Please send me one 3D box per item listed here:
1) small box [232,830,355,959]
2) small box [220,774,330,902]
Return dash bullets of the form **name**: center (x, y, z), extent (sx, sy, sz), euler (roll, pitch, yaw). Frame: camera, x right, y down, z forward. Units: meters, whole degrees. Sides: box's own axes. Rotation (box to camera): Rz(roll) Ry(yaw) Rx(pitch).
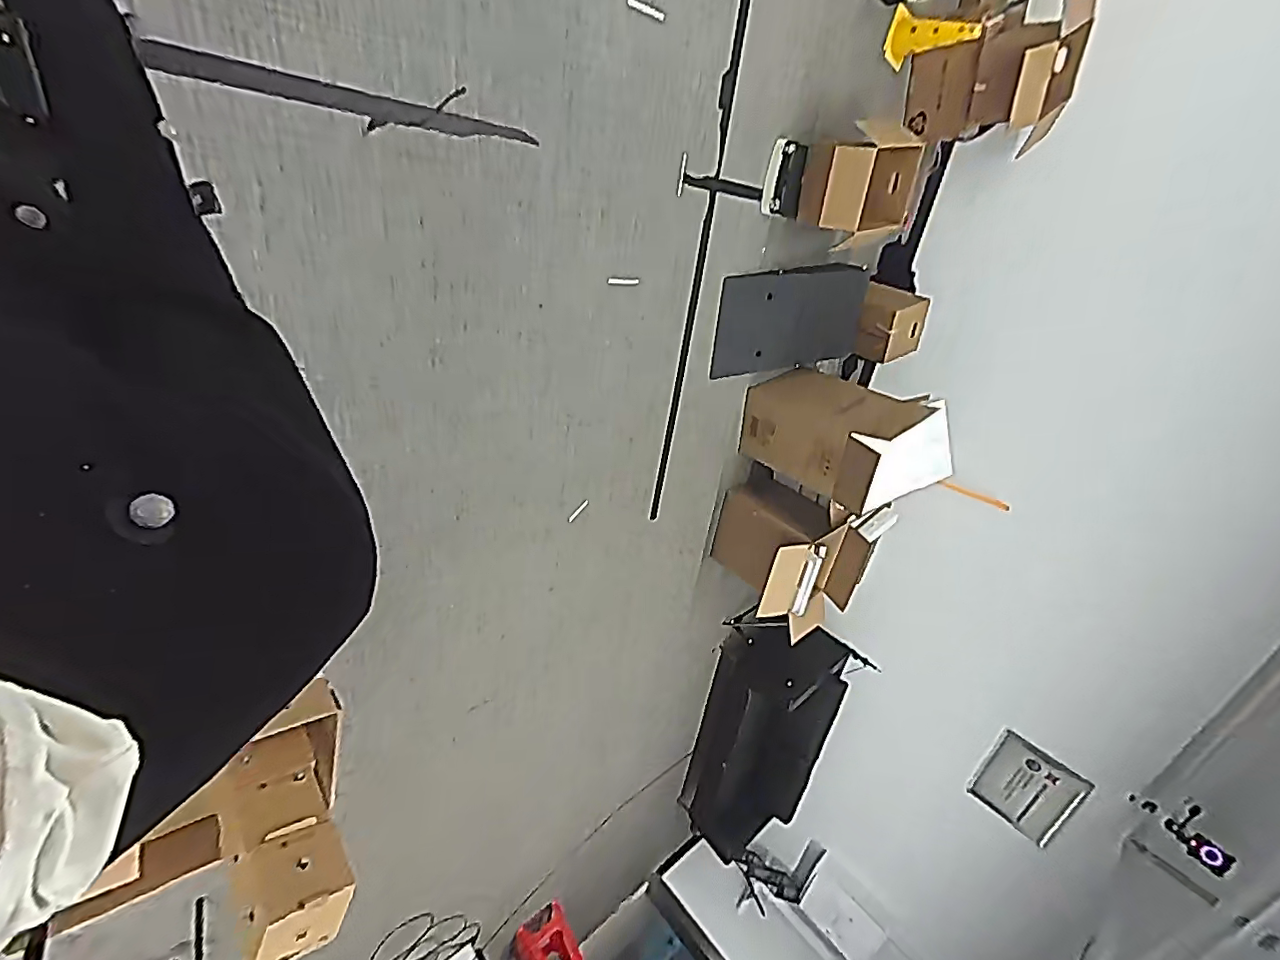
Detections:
- **small box**: center (-0.737, 0.885, 1.144), extent (0.168, 0.176, 0.179), euler (9, 109, -49)
- **small box**: center (-0.846, 0.817, 1.247), extent (0.168, 0.176, 0.179), euler (3, 115, -48)
